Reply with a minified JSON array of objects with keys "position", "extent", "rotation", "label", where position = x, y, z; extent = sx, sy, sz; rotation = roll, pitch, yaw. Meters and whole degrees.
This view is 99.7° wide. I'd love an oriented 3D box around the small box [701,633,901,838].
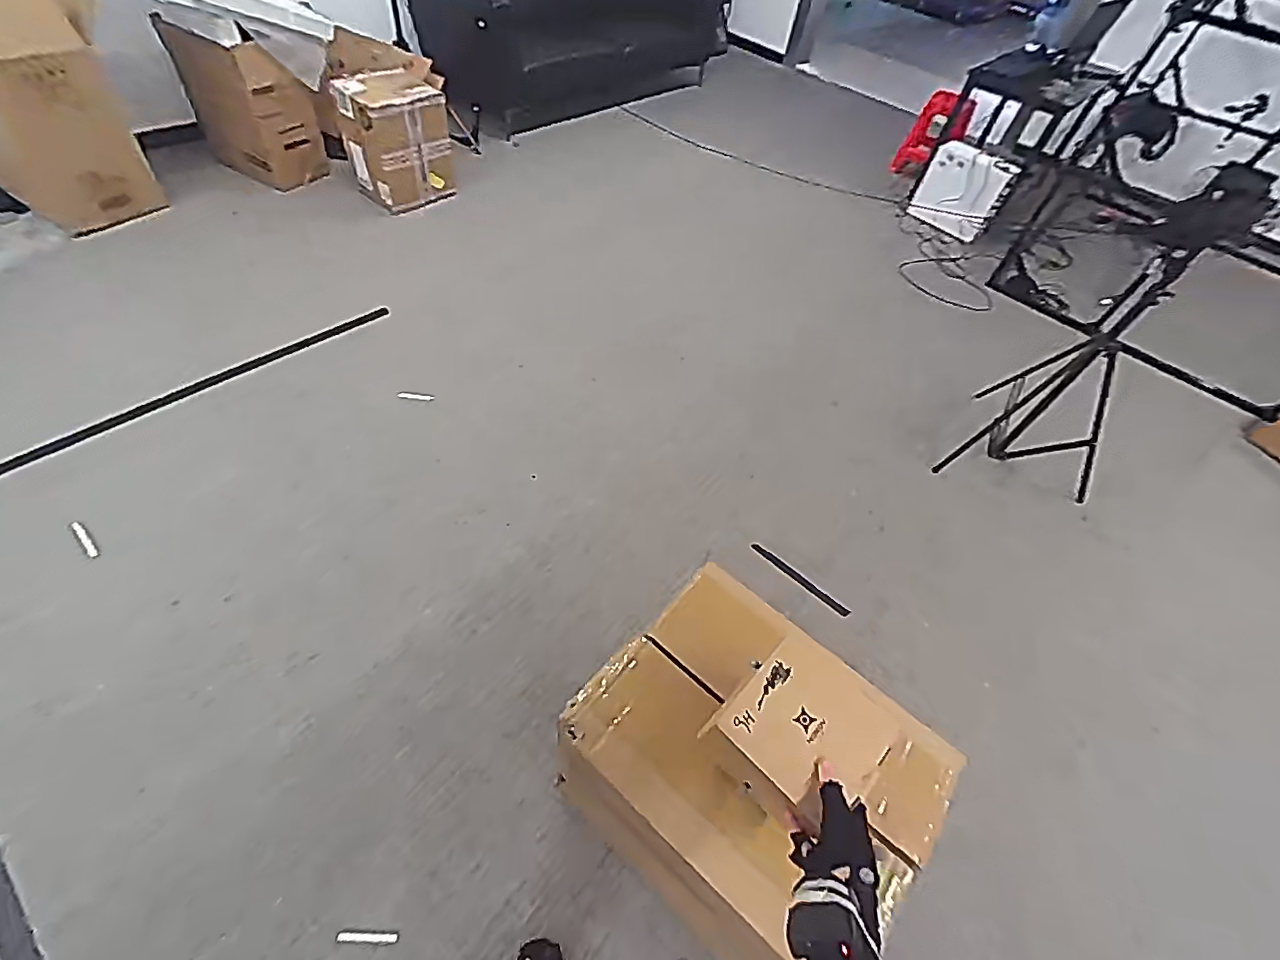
[{"position":[0.206,0.345,0.736],"extent":[0.179,0.176,0.168],"rotation":[40,64,20],"label":"small box"}]
